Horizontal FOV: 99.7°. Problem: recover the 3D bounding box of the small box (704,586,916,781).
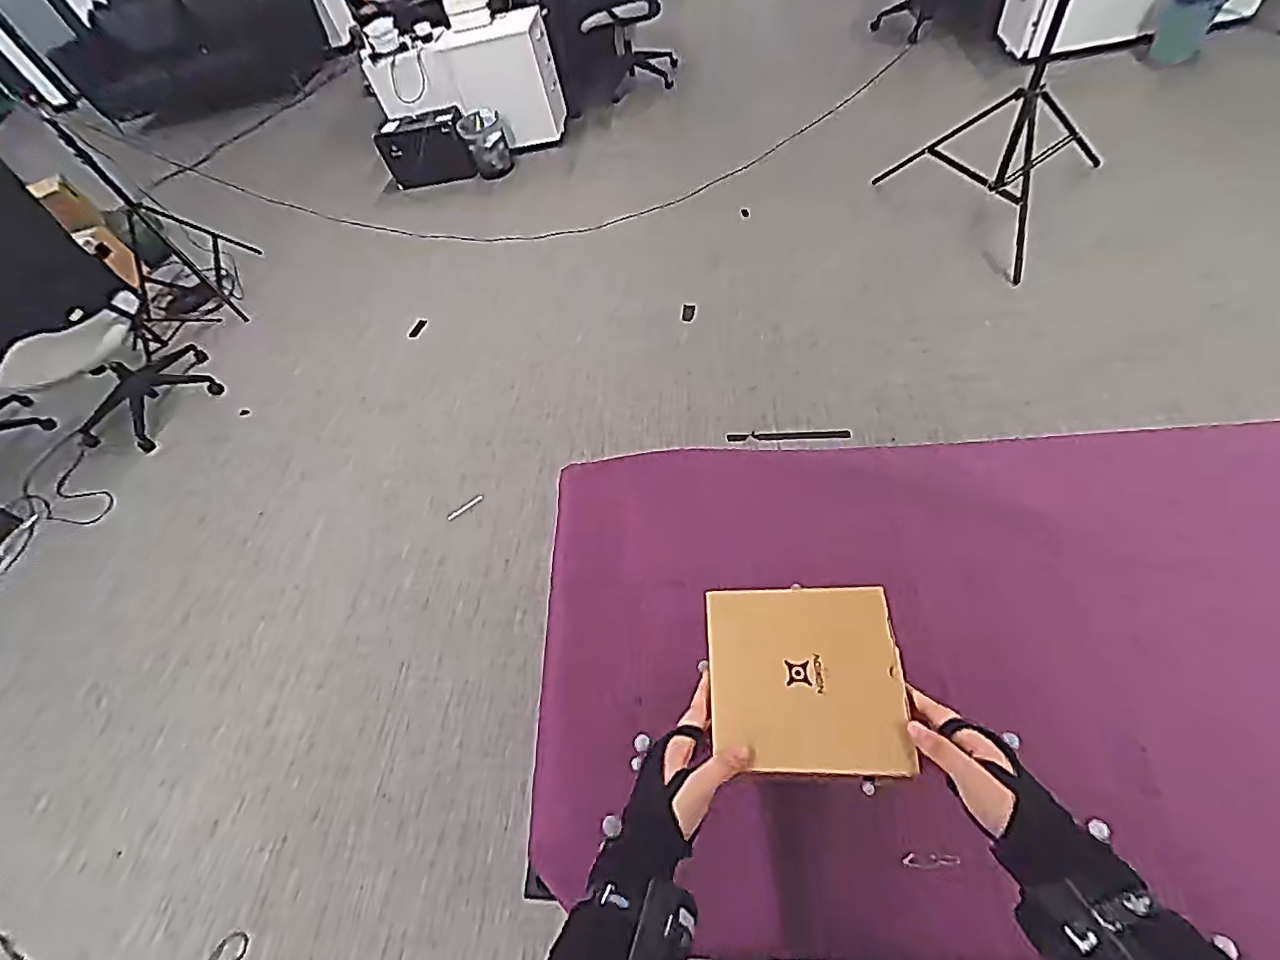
[{"bbox_3d":[0.163,0.221,0.574,0.179,0.176,0.168,-3,59,8],"label":"small box"}]
